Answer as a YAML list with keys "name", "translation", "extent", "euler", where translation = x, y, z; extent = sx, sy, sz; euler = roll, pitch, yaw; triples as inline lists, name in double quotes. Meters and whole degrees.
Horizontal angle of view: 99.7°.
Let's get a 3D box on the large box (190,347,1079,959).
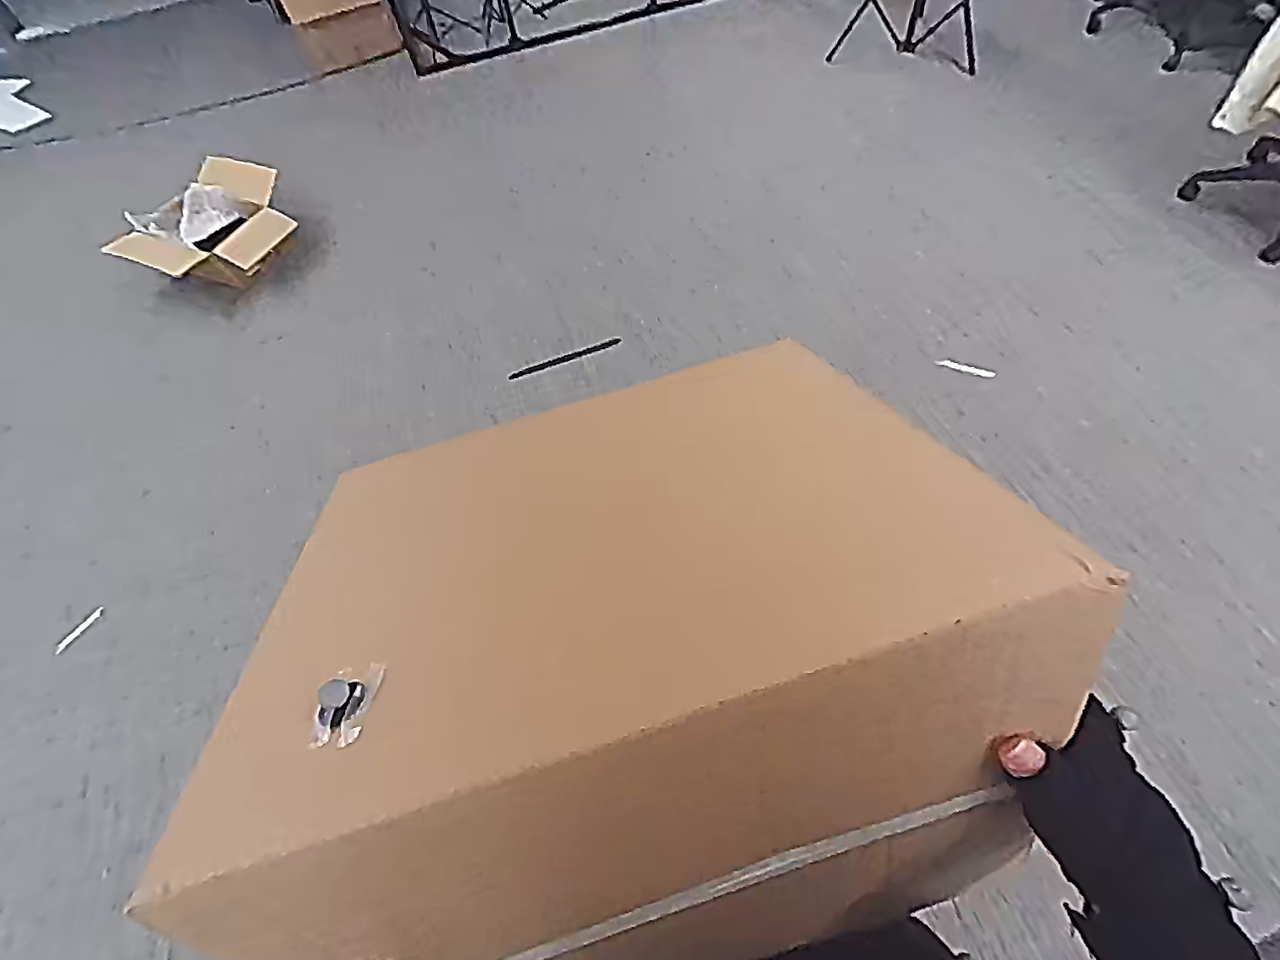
- name: "large box"
  translation: [0.007, 0.135, 0.430]
  extent: [0.408, 0.320, 0.320]
  euler: [-18, 35, -2]
